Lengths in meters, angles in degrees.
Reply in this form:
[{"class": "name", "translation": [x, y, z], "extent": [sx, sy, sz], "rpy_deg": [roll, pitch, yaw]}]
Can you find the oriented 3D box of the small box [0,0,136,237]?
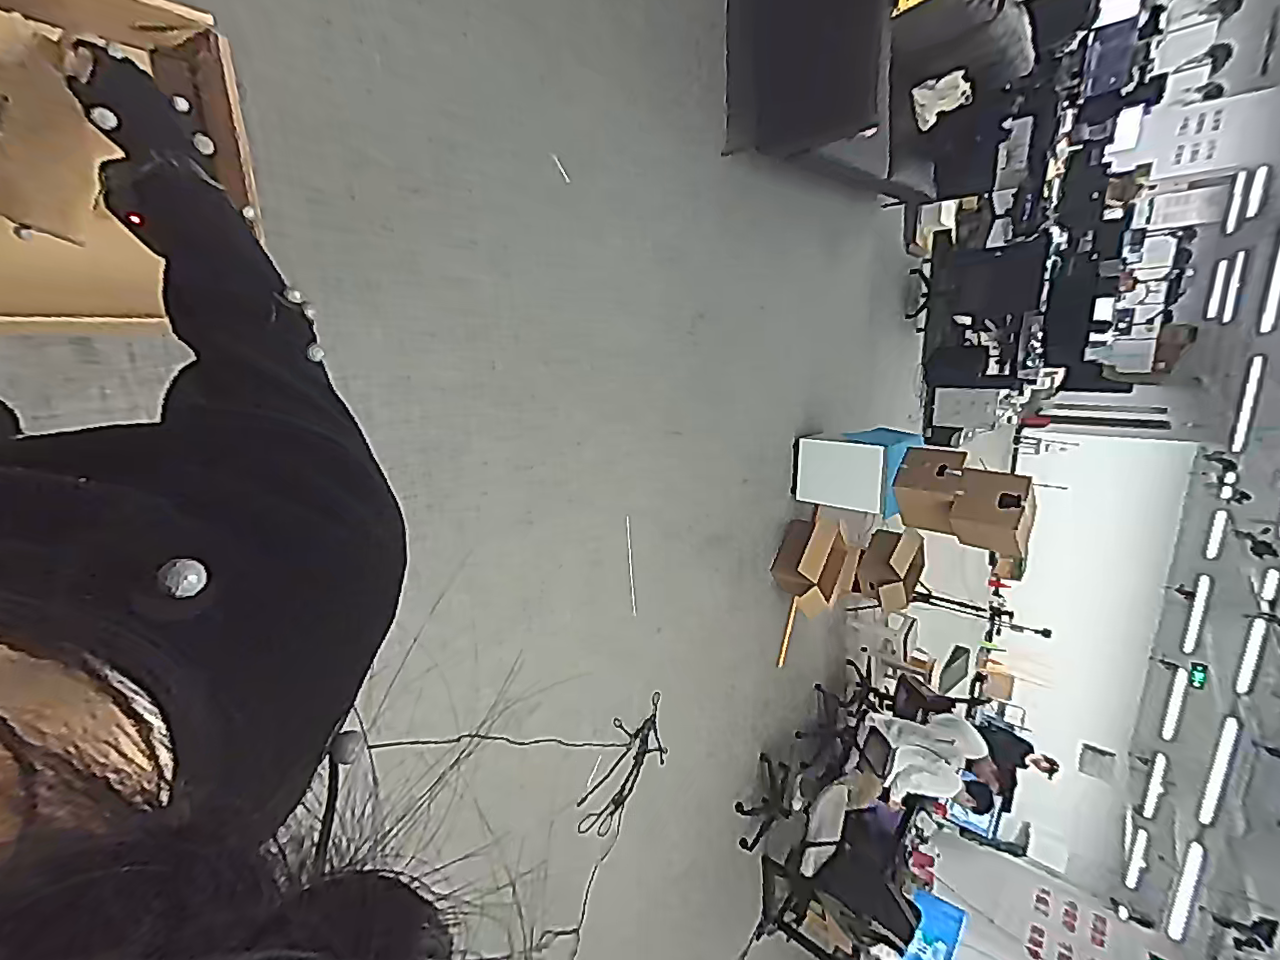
[{"class": "small box", "translation": [-0.628, -0.357, 0.515], "extent": [0.179, 0.176, 0.168], "rpy_deg": [19, 93, -49]}]
